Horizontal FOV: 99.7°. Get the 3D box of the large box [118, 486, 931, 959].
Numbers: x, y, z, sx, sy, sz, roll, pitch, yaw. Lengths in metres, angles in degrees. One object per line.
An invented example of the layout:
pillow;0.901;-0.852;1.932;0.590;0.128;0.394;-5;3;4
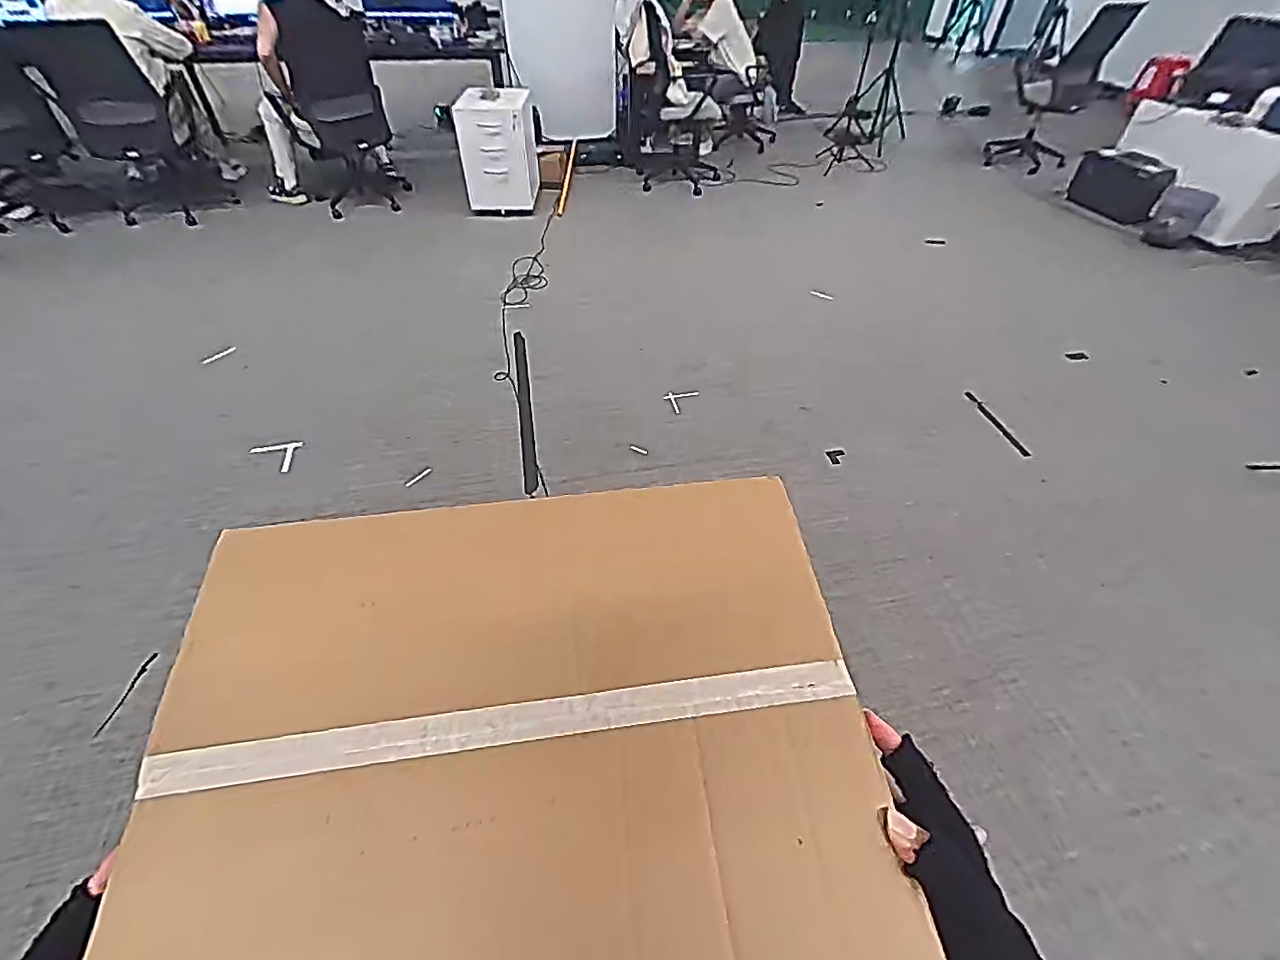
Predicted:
large box;-0.074;0.235;0.450;0.408;0.320;0.320;-6;57;-6
